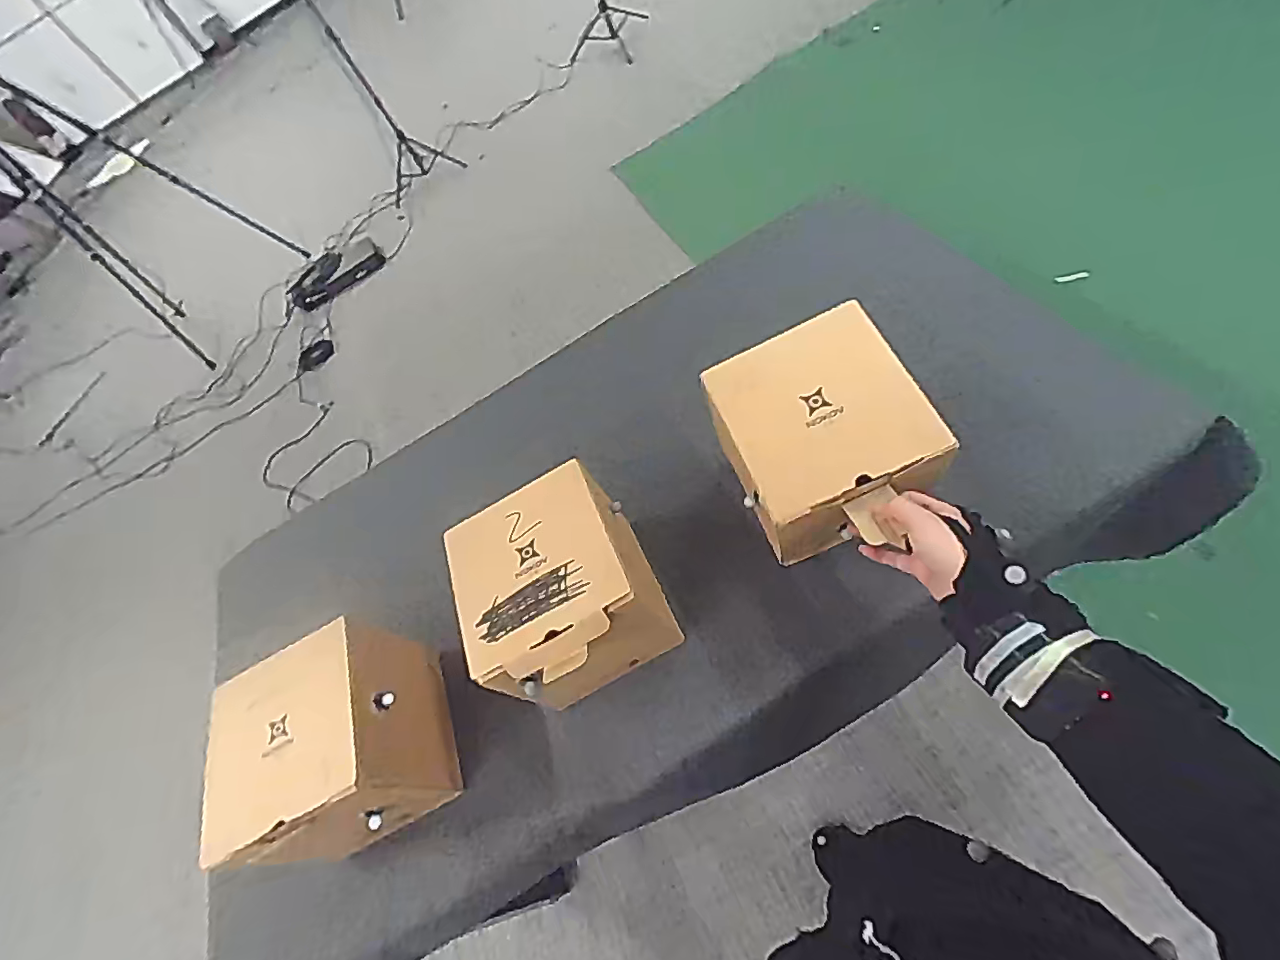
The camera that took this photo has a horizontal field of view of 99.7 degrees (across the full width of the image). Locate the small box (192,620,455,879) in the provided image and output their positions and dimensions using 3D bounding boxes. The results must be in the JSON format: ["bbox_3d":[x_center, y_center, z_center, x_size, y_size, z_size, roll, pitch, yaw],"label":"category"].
[{"bbox_3d":[-0.321,0.283,0.576,0.168,0.176,0.179,-29,53,1],"label":"small box"}]

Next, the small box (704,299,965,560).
[{"bbox_3d":[0.182,-0.039,0.553,0.168,0.176,0.179,-26,66,5],"label":"small box"}]
